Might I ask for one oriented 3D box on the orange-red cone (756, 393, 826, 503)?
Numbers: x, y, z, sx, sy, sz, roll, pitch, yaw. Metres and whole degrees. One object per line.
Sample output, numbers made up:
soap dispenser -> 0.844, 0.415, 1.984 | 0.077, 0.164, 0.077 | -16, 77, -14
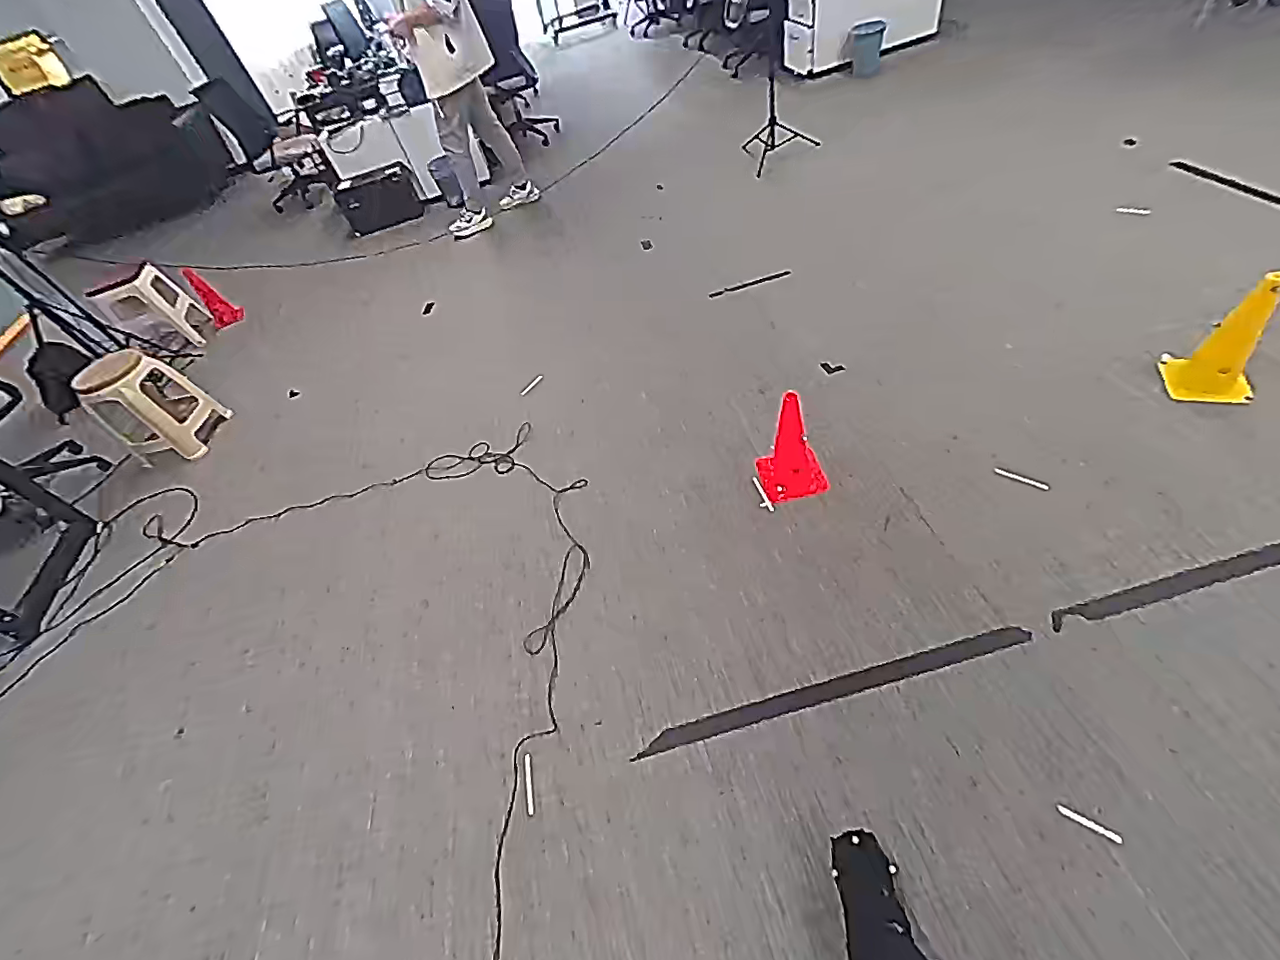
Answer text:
orange-red cone -> 0.463, -0.122, 1.664 | 0.199, 0.360, 0.198 | -12, 49, 4
